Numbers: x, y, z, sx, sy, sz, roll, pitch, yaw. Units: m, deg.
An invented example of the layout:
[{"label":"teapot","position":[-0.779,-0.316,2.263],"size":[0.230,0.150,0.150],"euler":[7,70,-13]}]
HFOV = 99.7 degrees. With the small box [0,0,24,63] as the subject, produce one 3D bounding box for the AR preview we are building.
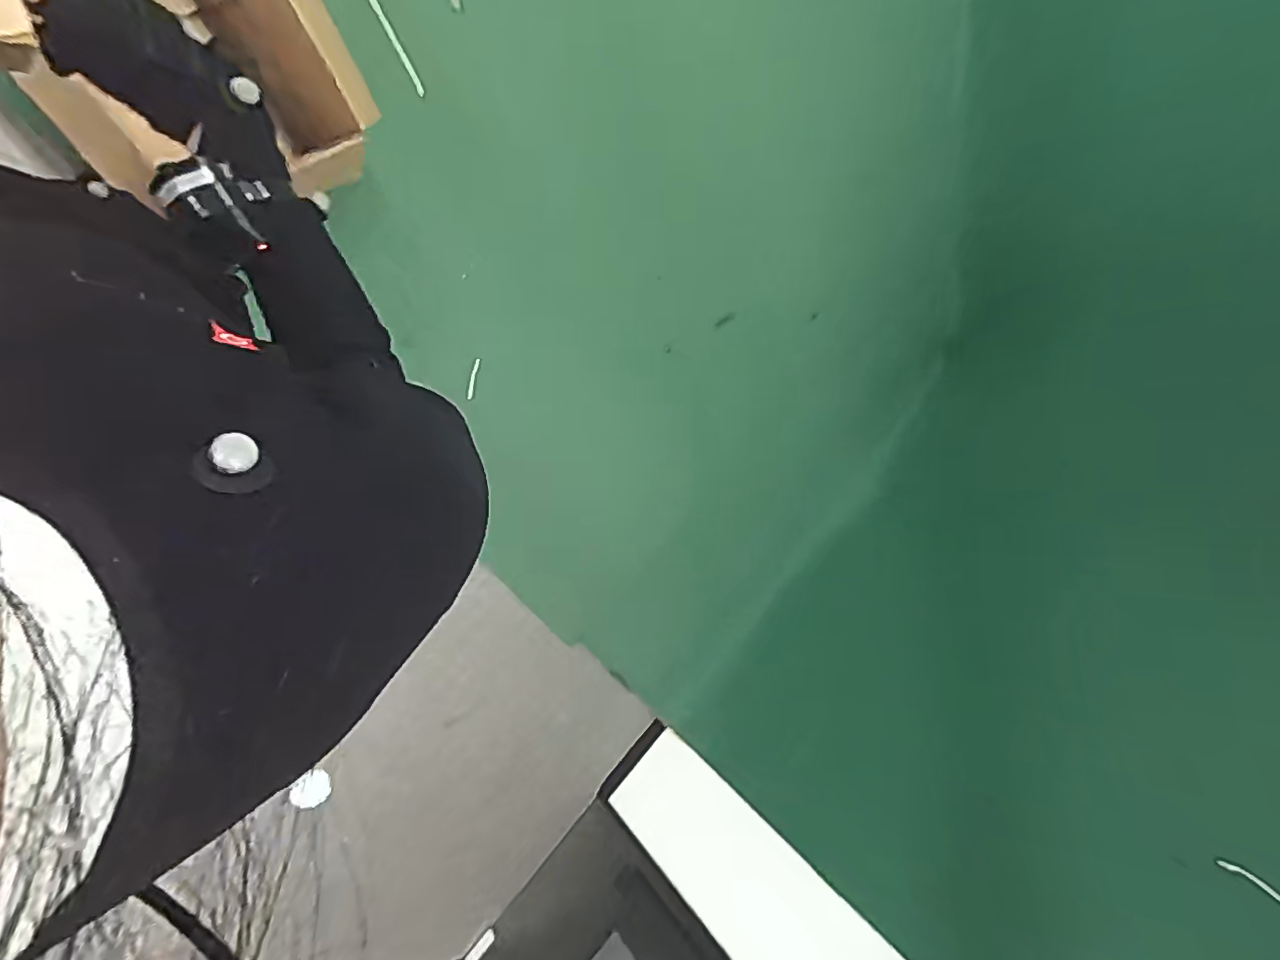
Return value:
[{"label":"small box","position":[-0.412,-0.294,0.219],"size":[0.168,0.176,0.179],"euler":[-25,129,-38]}]
